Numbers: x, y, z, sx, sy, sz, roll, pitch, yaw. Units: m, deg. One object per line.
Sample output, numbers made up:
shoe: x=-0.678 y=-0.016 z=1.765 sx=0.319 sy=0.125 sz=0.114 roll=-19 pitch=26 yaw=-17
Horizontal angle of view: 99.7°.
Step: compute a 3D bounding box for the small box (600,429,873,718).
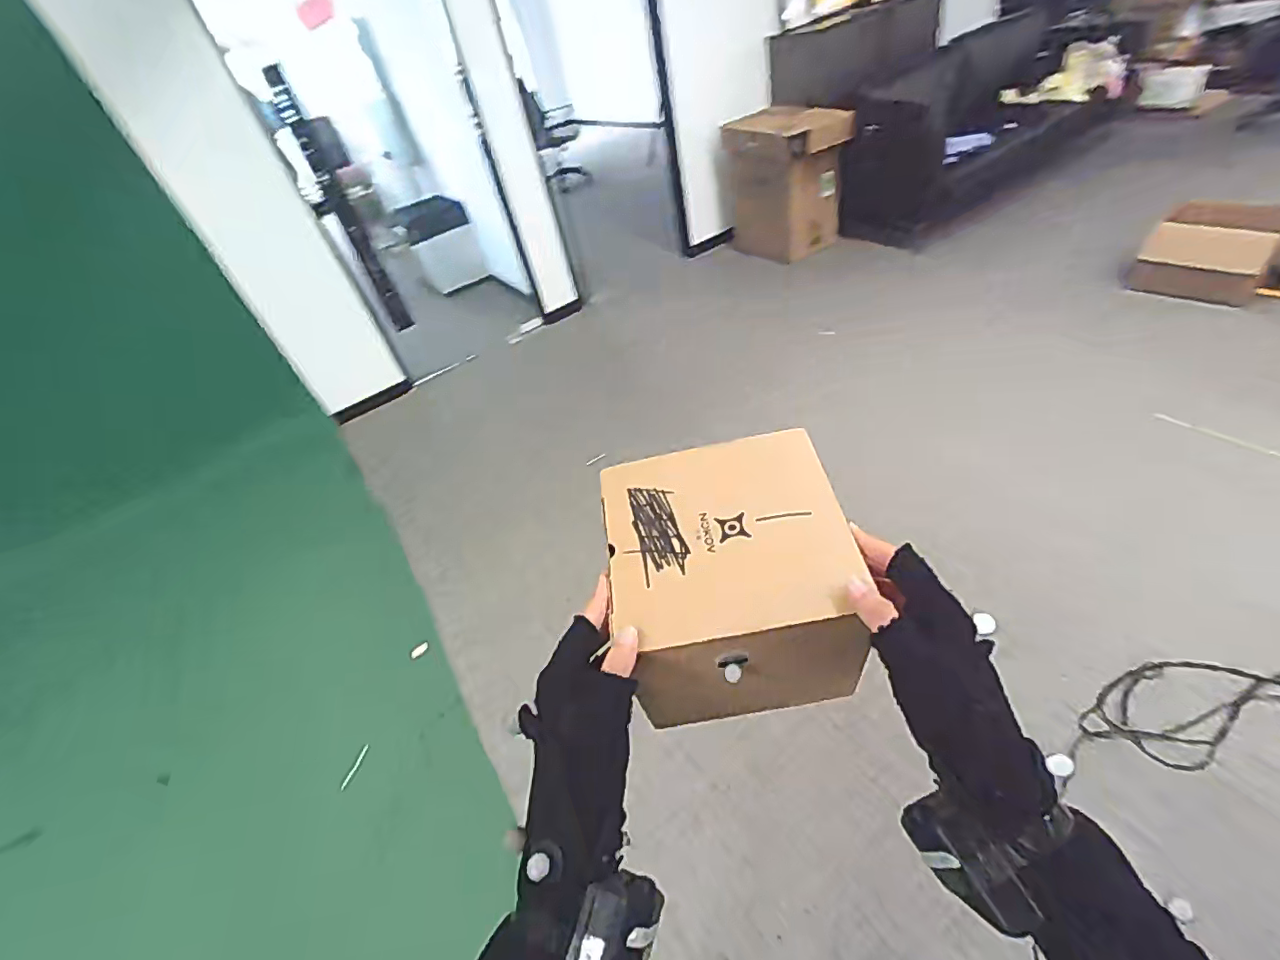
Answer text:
small box: x=0.072 y=0.085 z=0.457 sx=0.179 sy=0.176 sz=0.168 roll=-10 pitch=49 yaw=4
